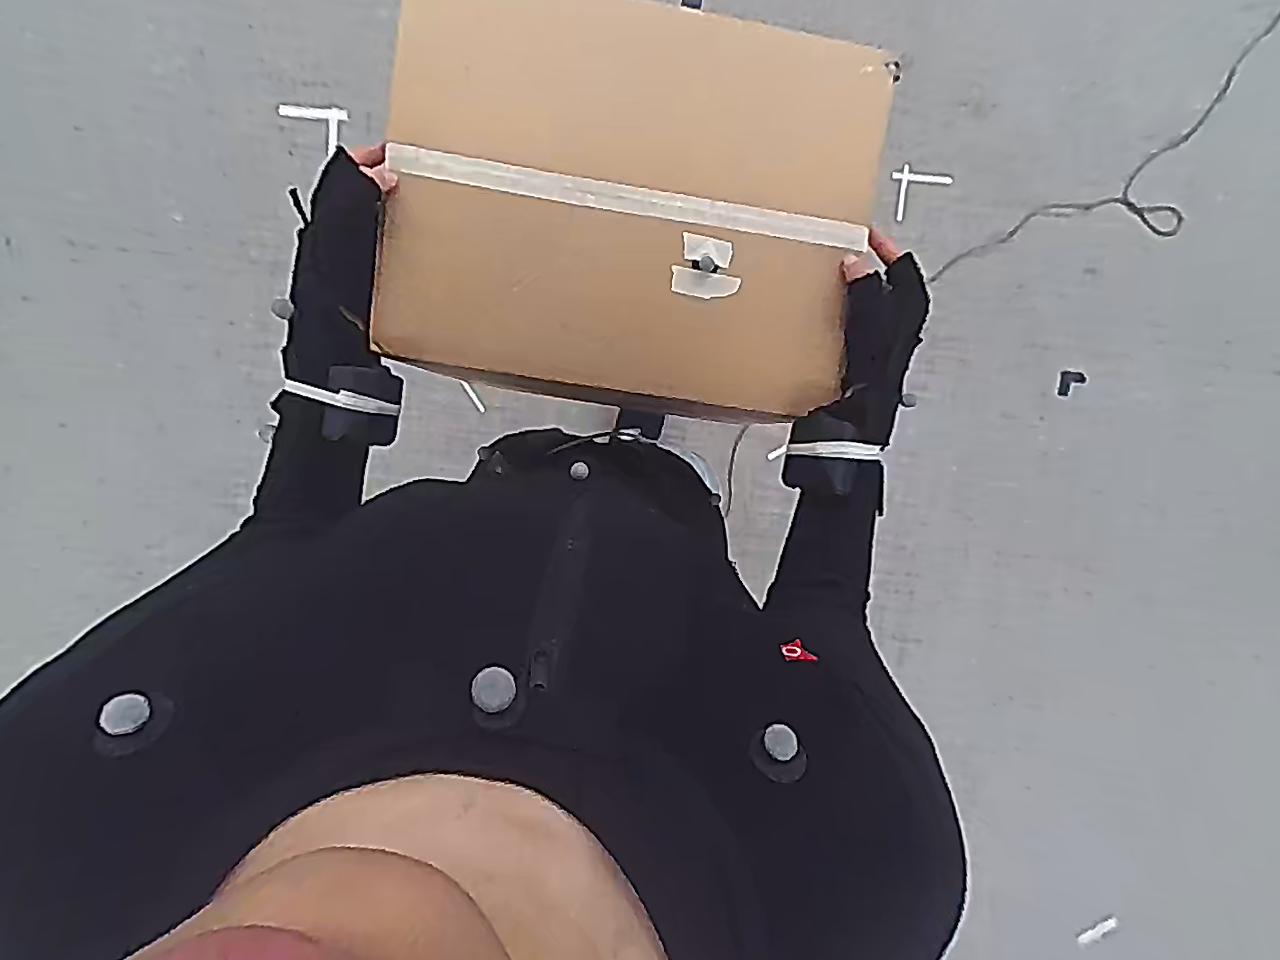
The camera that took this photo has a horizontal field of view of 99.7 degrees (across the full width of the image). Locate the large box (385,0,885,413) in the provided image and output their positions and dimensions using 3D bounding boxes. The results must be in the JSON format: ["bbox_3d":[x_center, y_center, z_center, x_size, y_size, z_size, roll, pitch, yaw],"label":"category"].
[{"bbox_3d":[-0.016,-0.255,0.607,0.408,0.320,0.320,8,96,-5],"label":"large box"}]
